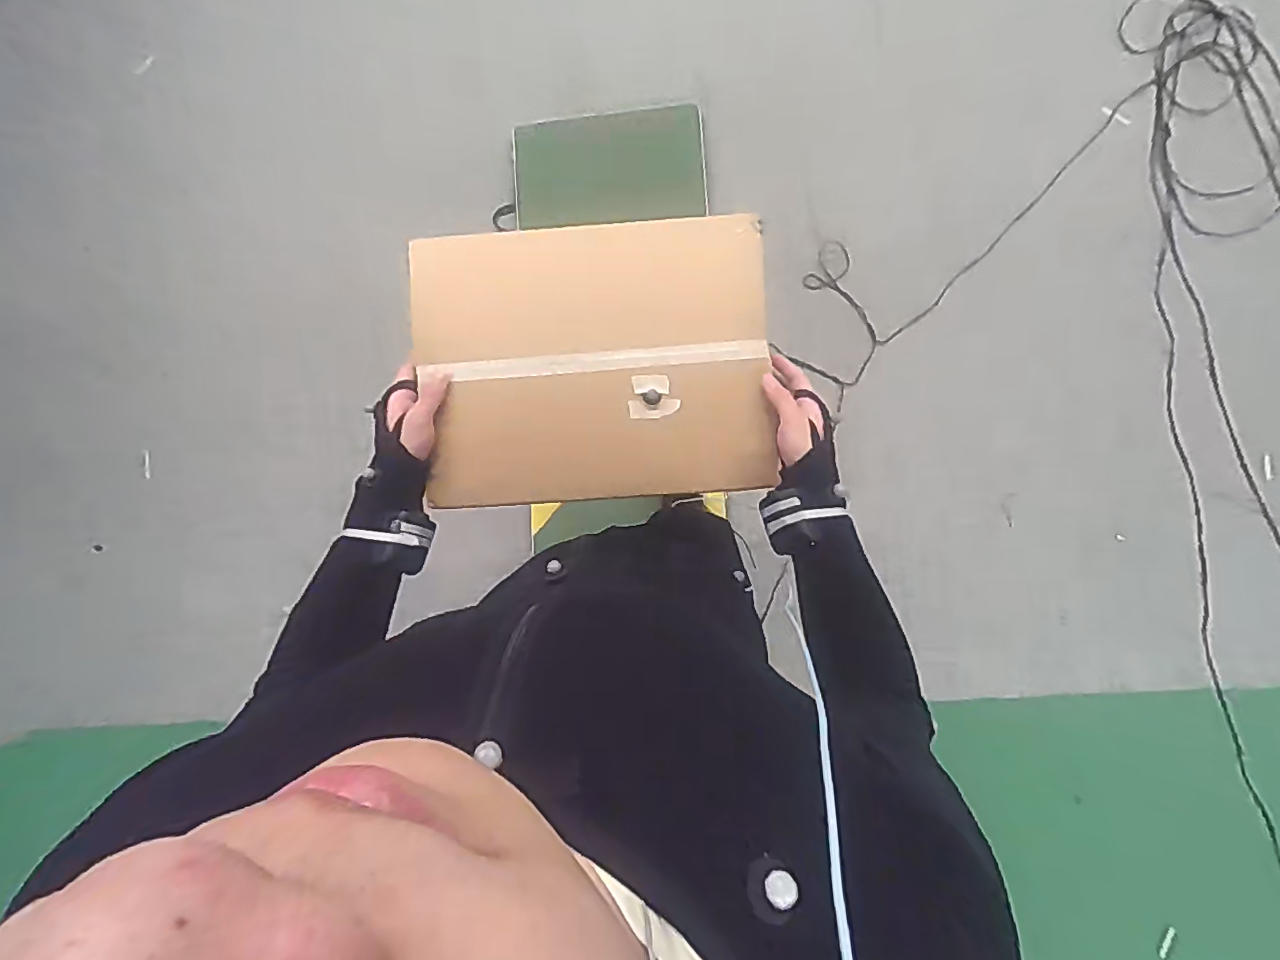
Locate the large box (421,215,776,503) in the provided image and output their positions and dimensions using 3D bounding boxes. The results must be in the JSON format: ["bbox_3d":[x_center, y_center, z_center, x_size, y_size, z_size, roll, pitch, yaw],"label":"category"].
[{"bbox_3d":[-0.050,-0.142,0.780,0.408,0.320,0.320,-4,91,1],"label":"large box"}]
